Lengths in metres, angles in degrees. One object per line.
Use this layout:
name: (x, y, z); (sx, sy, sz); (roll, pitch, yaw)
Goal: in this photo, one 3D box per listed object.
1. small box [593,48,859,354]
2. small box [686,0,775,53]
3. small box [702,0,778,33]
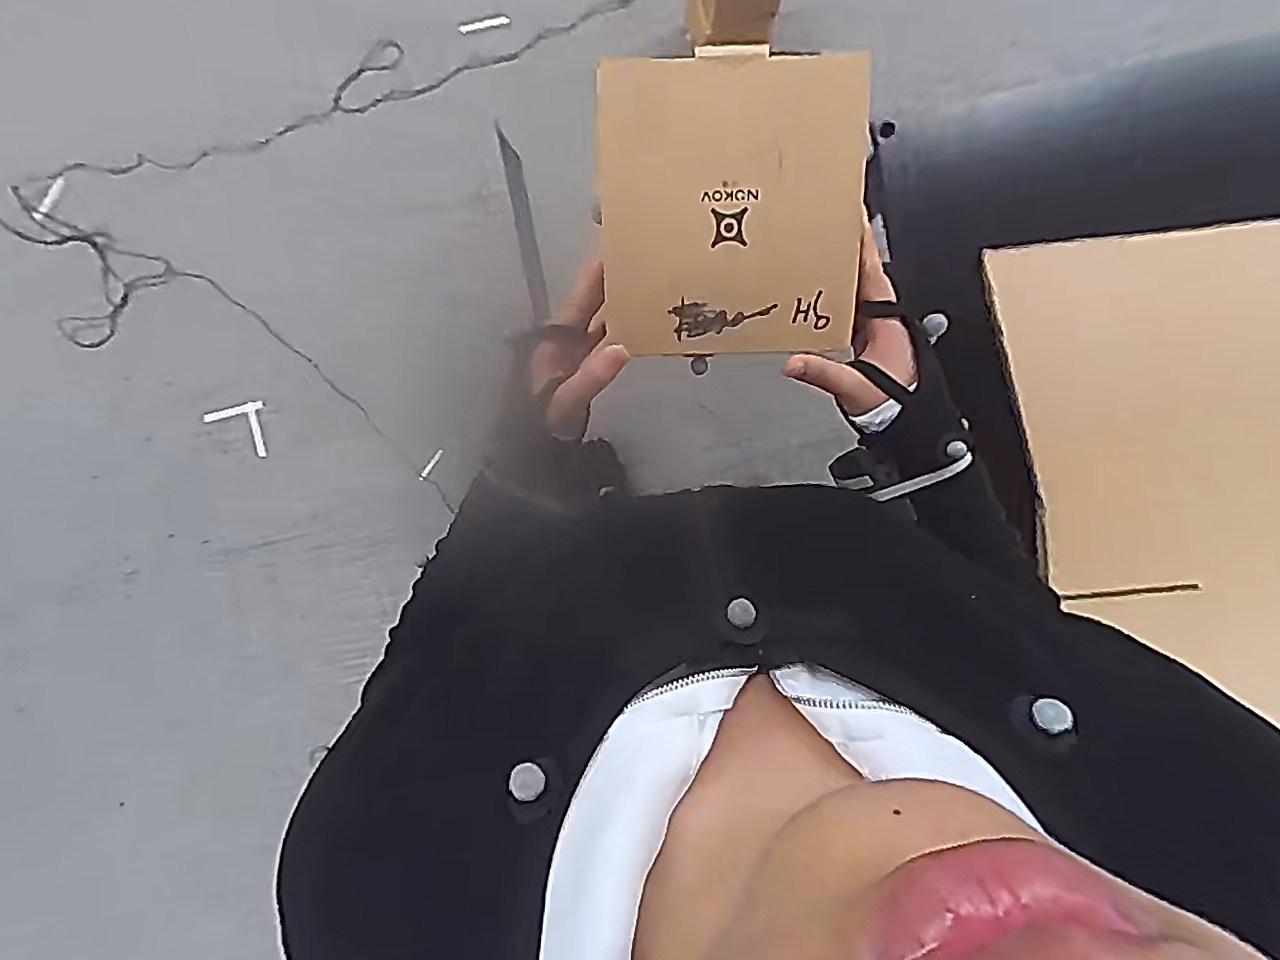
small box: (0.053, -0.190, 0.420); (0.168, 0.176, 0.179); (-1, 104, 1)
small box: (0.225, -1.172, 1.385); (0.179, 0.176, 0.168); (-15, 91, 2)
small box: (0.227, -1.171, 1.223); (0.179, 0.176, 0.168); (-18, 92, 0)
